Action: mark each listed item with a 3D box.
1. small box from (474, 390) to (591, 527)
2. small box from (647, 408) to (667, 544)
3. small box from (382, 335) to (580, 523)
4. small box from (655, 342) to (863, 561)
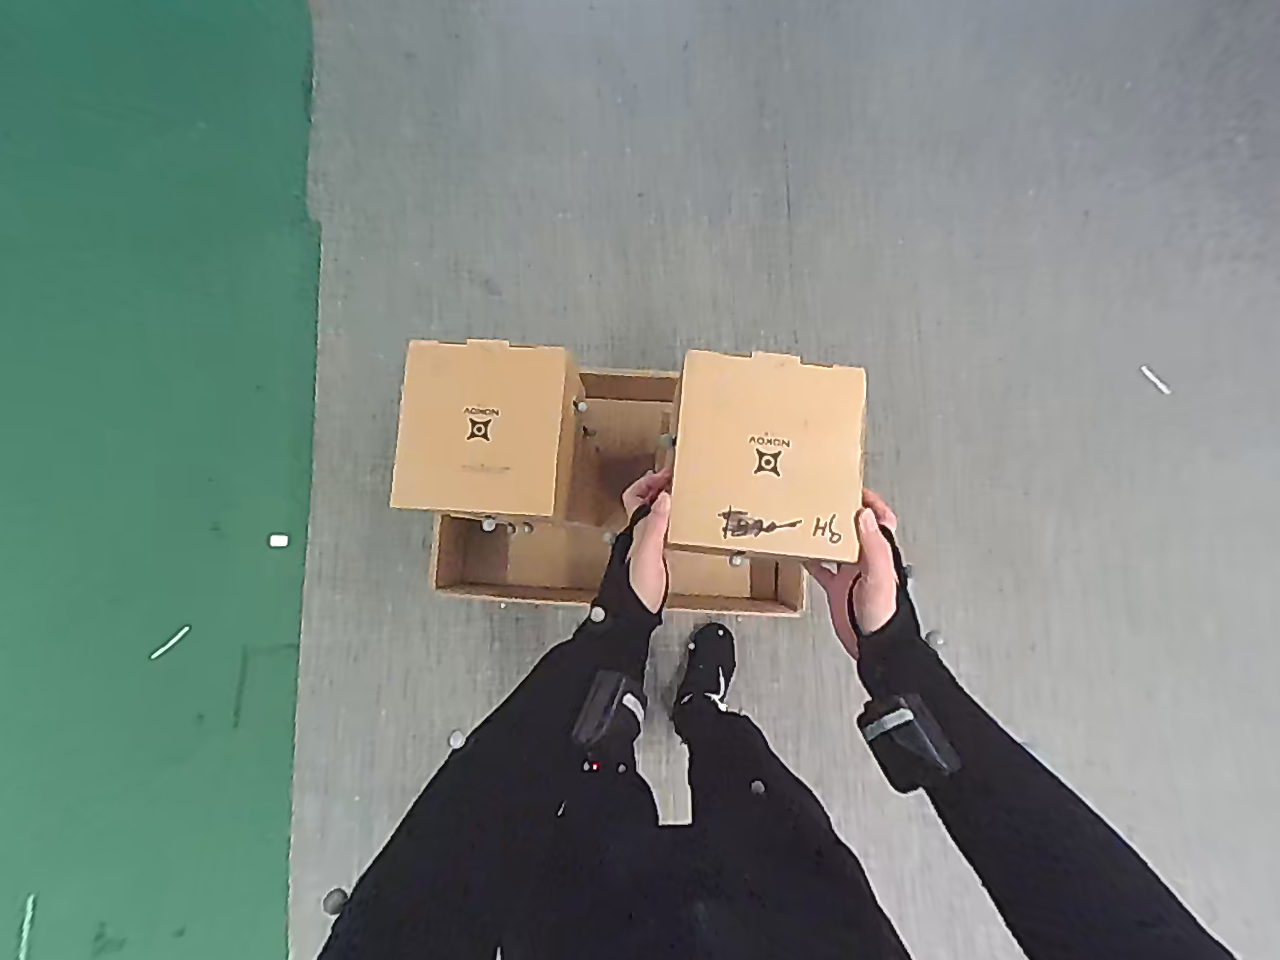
[{"bbox_3d":[-0.163,-0.027,0.778,0.168,0.176,0.179,3,83,1],"label":"small box"},{"bbox_3d":[0.100,0.008,0.772,0.168,0.176,0.179,5,83,1],"label":"small box"},{"bbox_3d":[-0.164,-0.047,0.616,0.168,0.176,0.179,4,83,2],"label":"small box"},{"bbox_3d":[0.106,-0.016,0.543,0.168,0.176,0.179,6,80,0],"label":"small box"}]
